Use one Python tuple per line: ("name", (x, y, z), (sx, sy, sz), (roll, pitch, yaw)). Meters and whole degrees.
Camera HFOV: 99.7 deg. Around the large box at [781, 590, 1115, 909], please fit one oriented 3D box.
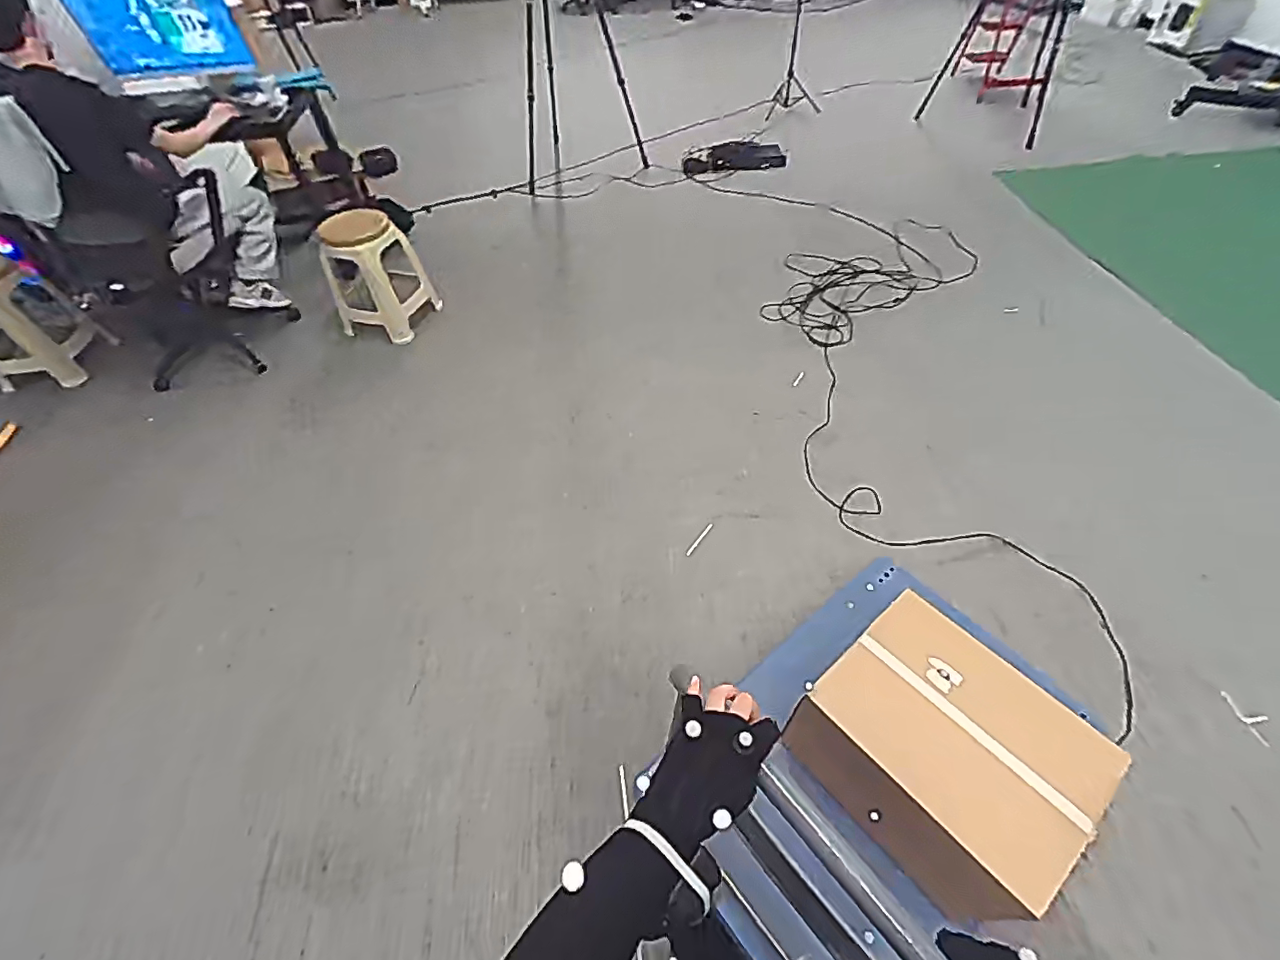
("large box", (0.535, 0.501, 1.026), (0.320, 0.320, 0.408), (-34, 55, -22))
